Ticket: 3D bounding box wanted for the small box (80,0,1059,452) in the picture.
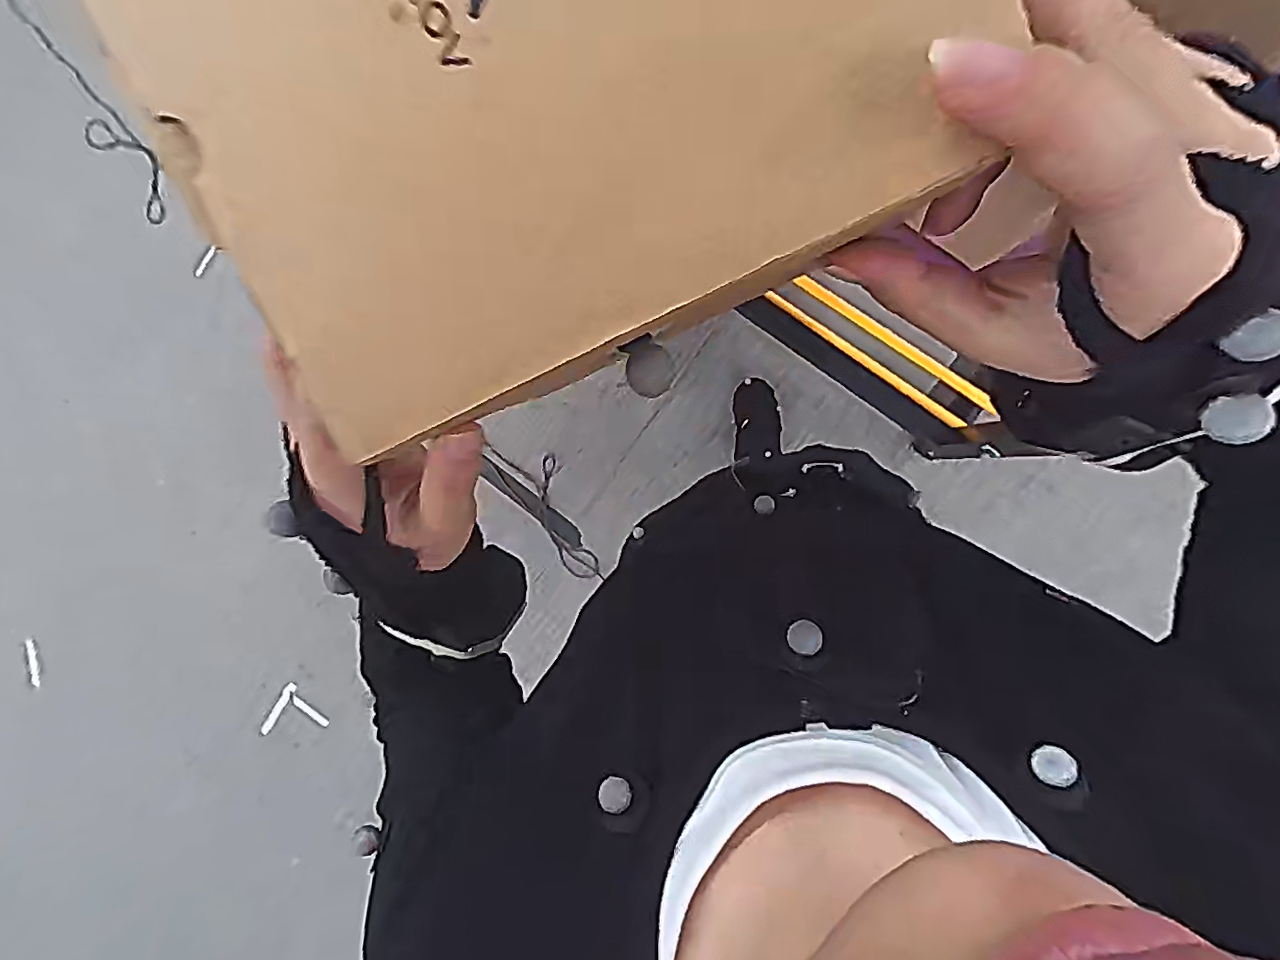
[{"bbox_3d":[-0.021,-0.132,0.179,0.179,0.176,0.168,-22,103,13],"label":"small box"}]
